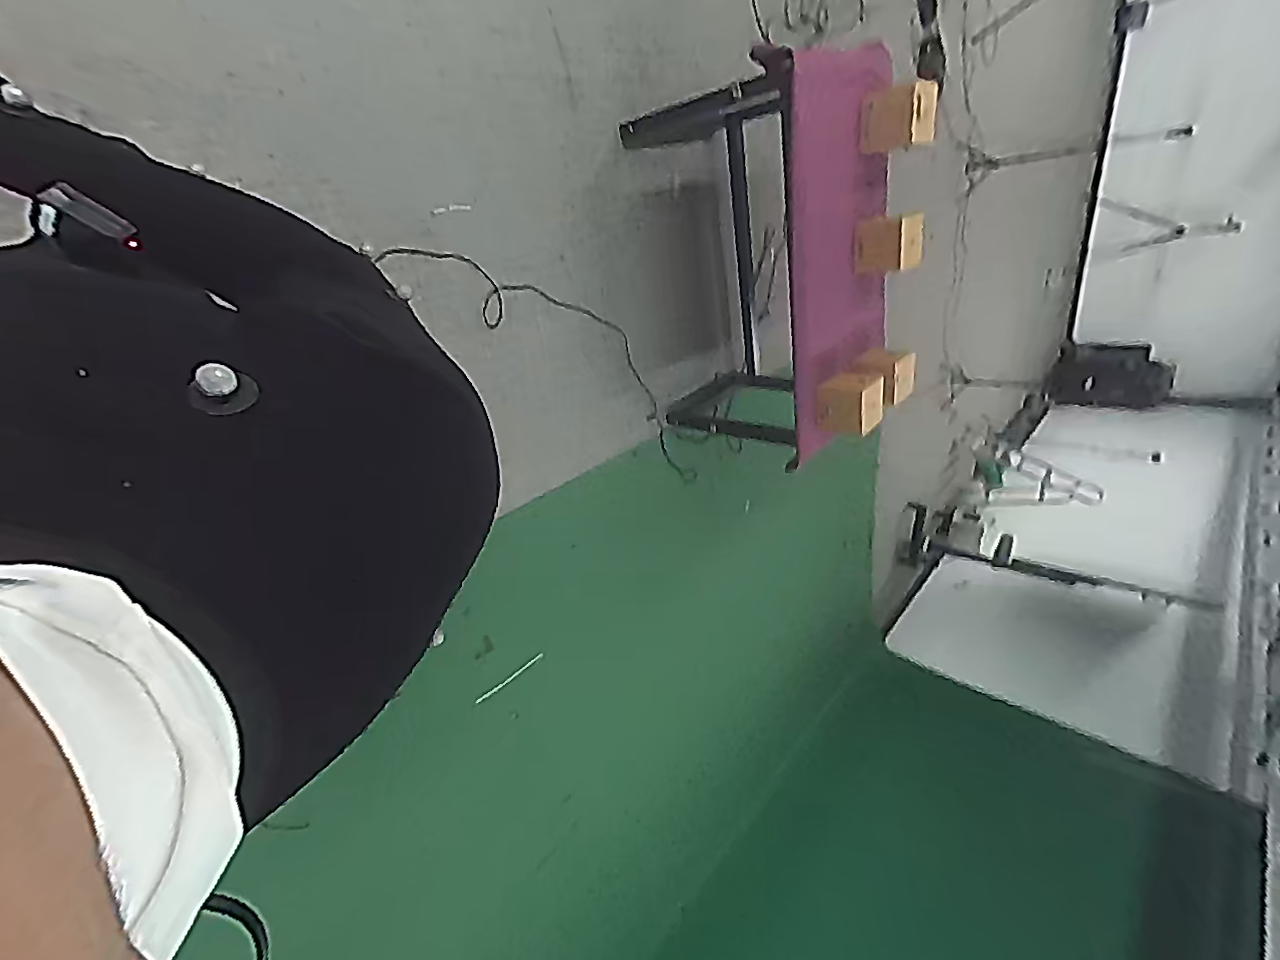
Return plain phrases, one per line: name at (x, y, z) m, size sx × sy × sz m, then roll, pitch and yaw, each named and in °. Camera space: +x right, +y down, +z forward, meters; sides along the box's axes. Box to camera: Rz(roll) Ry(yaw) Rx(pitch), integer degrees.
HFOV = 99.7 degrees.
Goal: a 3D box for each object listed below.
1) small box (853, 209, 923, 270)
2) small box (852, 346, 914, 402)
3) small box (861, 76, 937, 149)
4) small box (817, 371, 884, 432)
small box at (0.862, -0.837, 1.882) m, size 0.179 × 0.176 × 0.168 m, roll -31°, pitch 122°, yaw -35°
small box at (0.934, -0.415, 2.082) m, size 0.179 × 0.176 × 0.168 m, roll -32°, pitch 123°, yaw -36°
small box at (0.829, -1.174, 1.739) m, size 0.179 × 0.176 × 0.168 m, roll -28°, pitch 122°, yaw -36°
small box at (0.747, -0.285, 1.923) m, size 0.179 × 0.176 × 0.168 m, roll -31°, pitch 121°, yaw -37°
